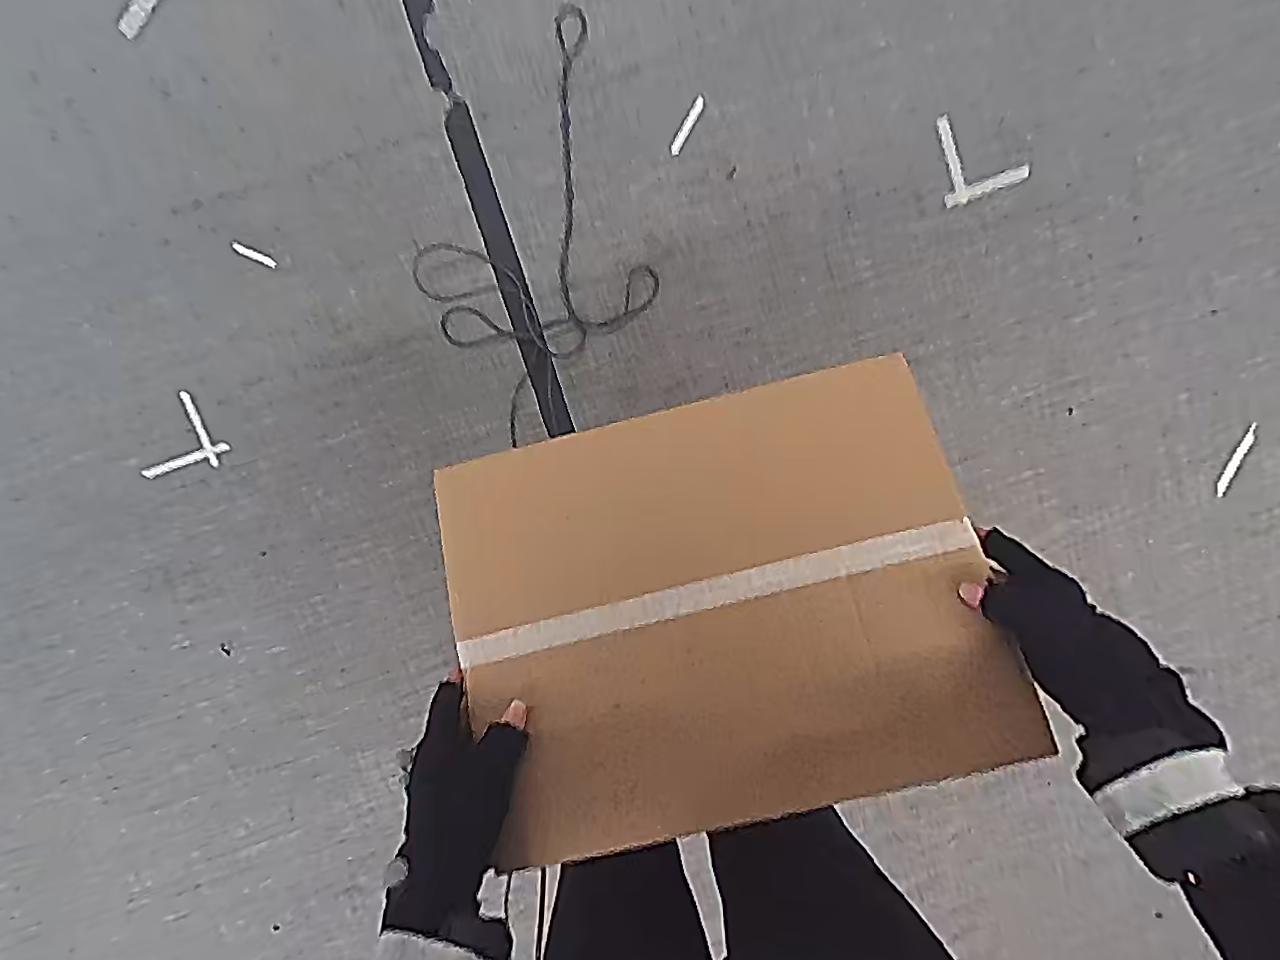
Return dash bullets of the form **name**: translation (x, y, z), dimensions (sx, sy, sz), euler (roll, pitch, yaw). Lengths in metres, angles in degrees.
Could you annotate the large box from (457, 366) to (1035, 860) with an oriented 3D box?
- **large box**: translation (0.076, 0.130, 0.579), dimensions (0.408, 0.320, 0.320), euler (-14, 76, 3)
